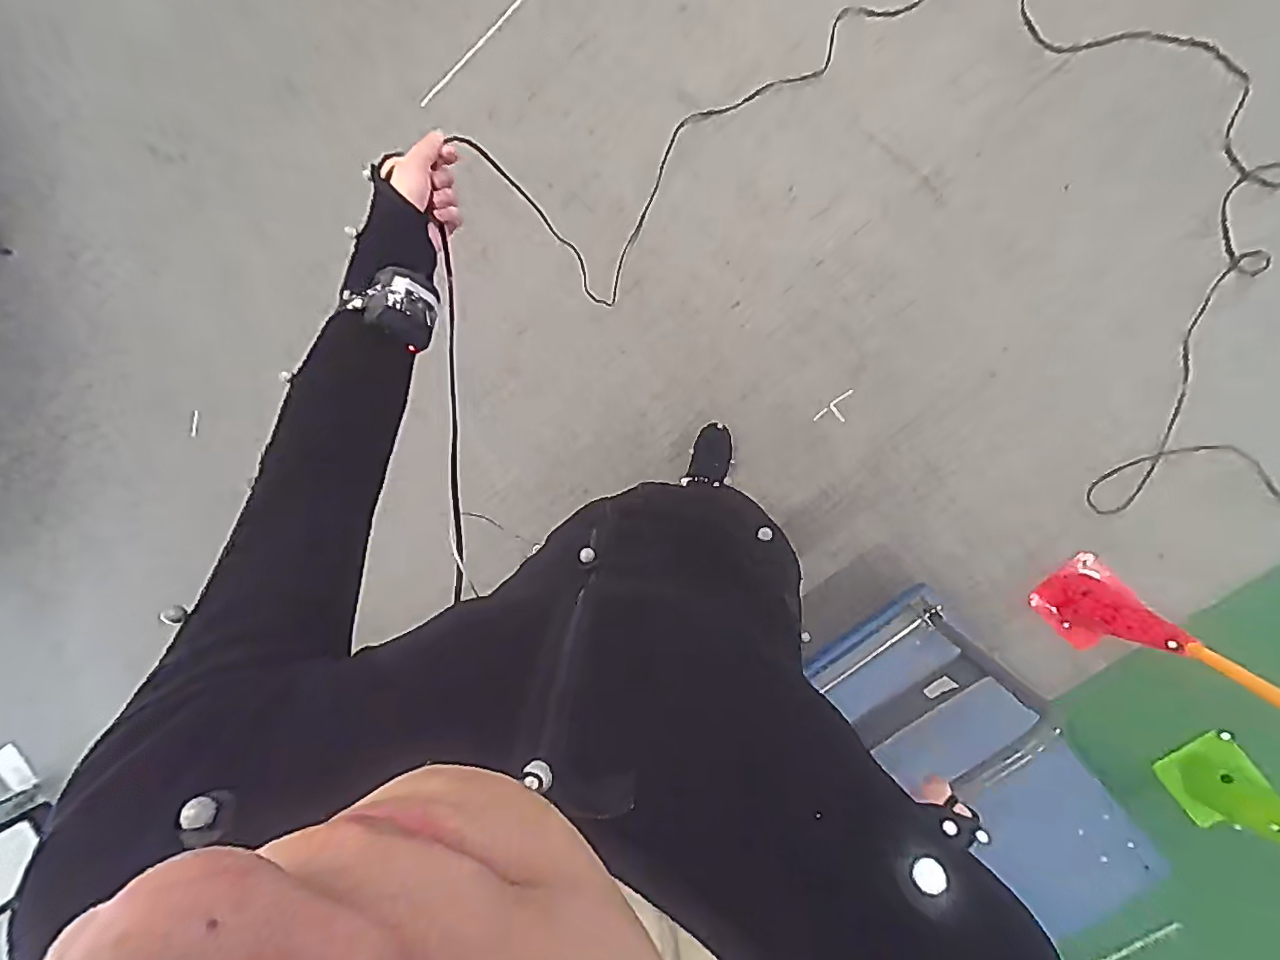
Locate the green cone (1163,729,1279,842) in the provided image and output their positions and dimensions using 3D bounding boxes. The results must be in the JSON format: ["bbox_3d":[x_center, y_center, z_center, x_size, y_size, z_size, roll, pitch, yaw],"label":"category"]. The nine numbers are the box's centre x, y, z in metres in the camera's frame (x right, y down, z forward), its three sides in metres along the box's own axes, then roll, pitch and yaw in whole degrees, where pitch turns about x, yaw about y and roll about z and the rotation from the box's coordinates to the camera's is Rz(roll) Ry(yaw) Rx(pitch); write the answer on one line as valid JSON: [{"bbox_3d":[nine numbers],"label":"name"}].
[{"bbox_3d":[1.453,0.769,1.212,0.200,0.368,0.202,-39,87,9],"label":"green cone"}]
